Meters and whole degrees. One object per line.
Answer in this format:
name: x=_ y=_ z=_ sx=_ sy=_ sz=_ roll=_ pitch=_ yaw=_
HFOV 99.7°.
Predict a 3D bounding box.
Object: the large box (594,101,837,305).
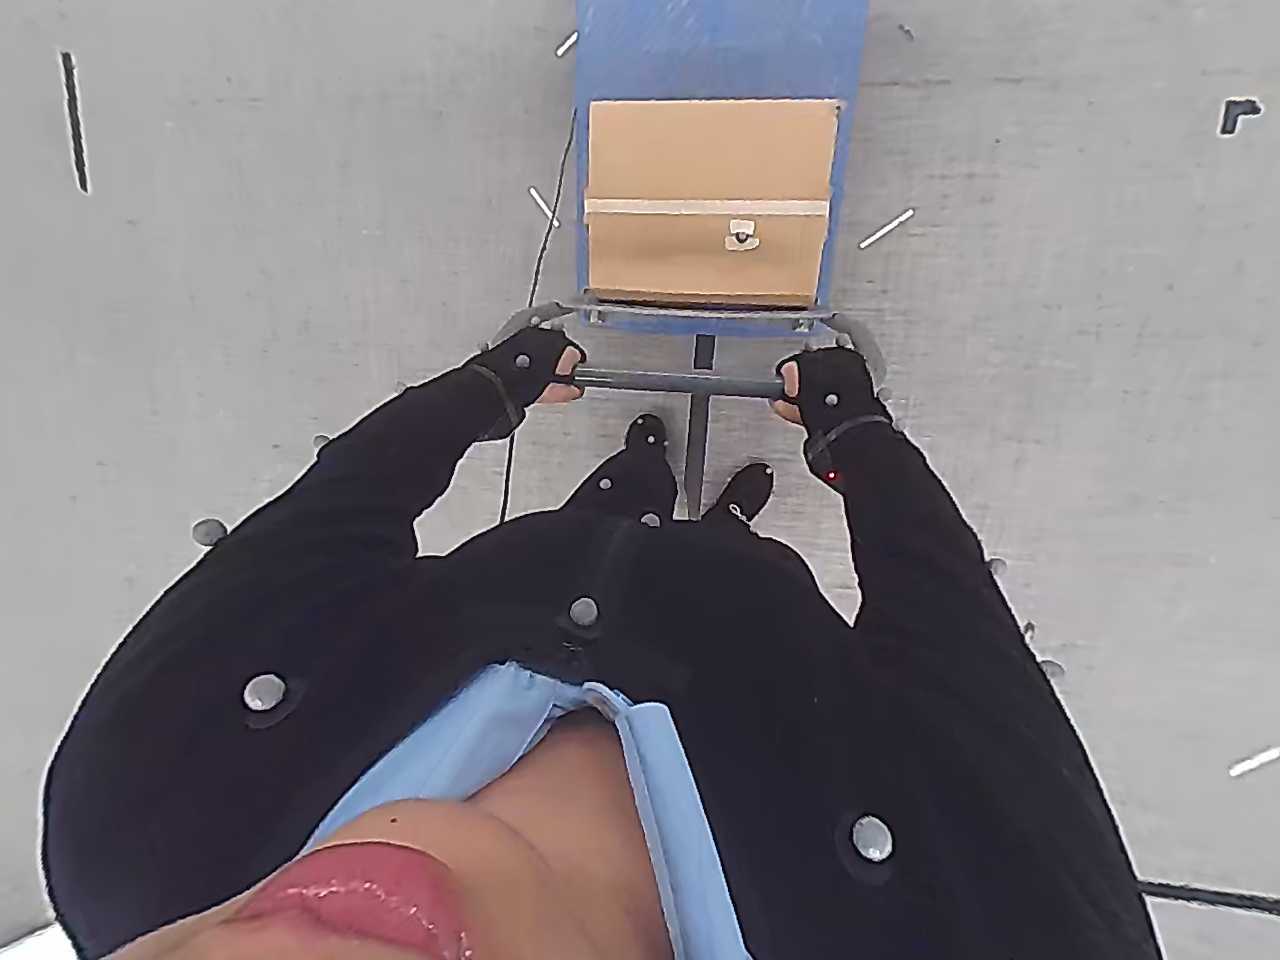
large box: x=0.134 y=-0.515 z=1.075 sx=0.408 sy=0.320 sz=0.320 roll=4 pitch=109 yaw=6
